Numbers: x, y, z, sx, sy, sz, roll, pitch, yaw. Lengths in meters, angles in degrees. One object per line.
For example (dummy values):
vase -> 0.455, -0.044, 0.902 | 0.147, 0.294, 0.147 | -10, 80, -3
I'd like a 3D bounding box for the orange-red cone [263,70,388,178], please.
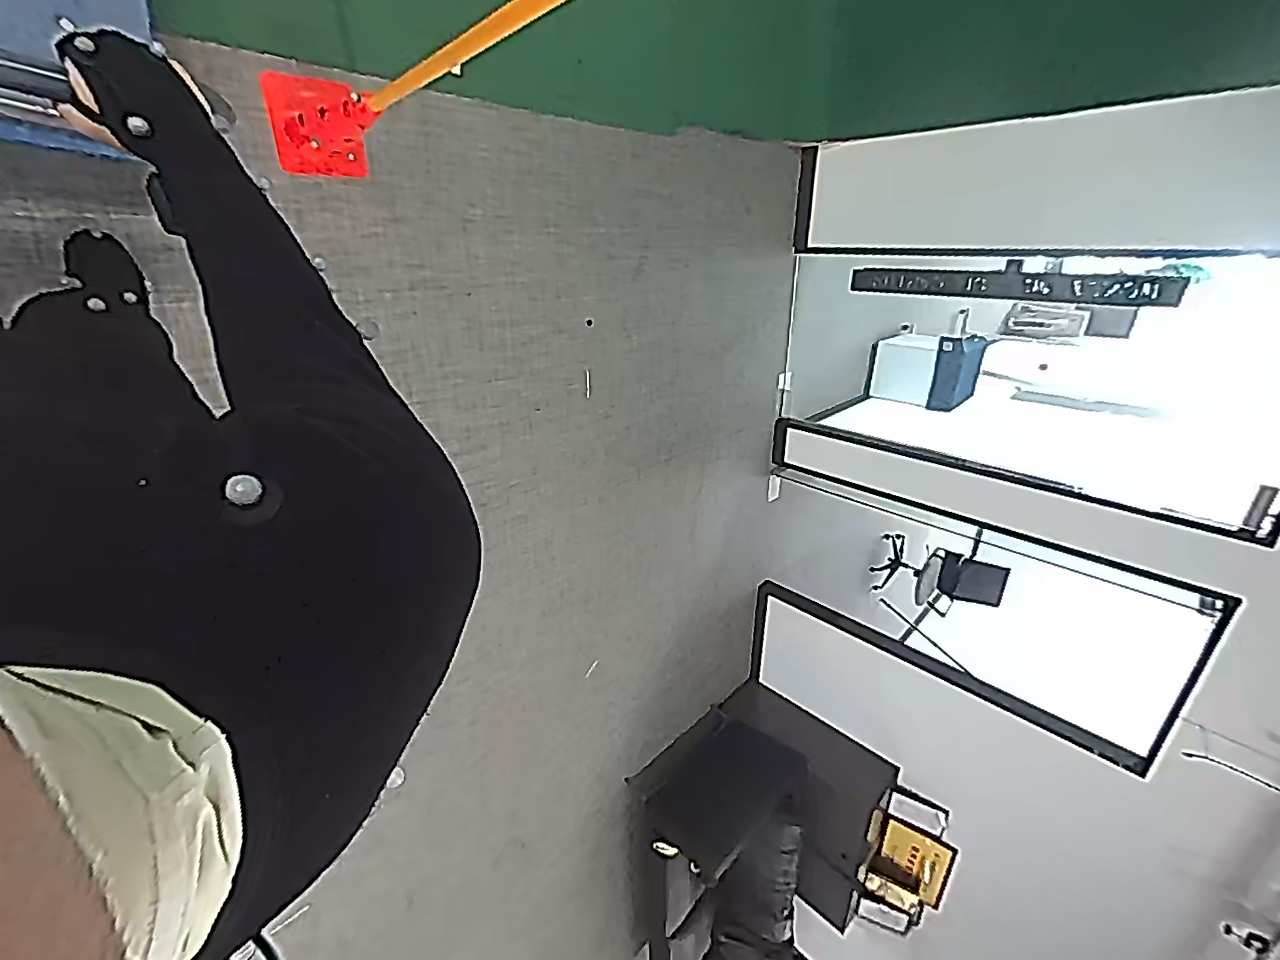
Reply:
orange-red cone -> -0.634, -0.785, 1.161 | 0.198, 0.360, 0.199 | -23, 121, -41
